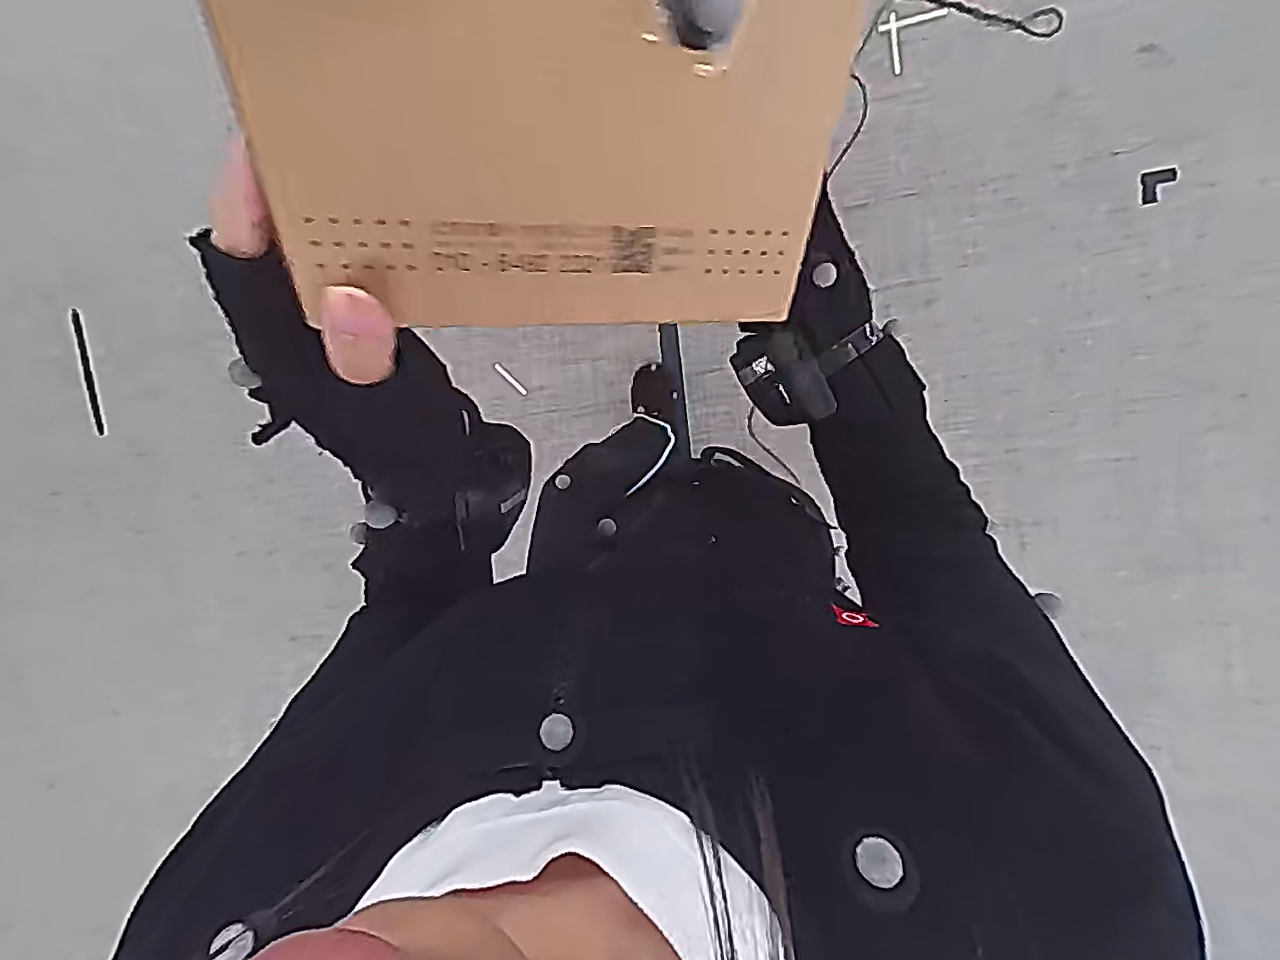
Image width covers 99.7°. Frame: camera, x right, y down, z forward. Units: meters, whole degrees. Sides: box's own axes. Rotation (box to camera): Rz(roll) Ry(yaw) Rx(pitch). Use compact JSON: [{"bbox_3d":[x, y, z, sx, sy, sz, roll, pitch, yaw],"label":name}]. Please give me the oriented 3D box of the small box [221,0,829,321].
[{"bbox_3d":[-0.035,-0.171,0.207,0.168,0.179,0.176,-2,130,-9],"label":"small box"}]
